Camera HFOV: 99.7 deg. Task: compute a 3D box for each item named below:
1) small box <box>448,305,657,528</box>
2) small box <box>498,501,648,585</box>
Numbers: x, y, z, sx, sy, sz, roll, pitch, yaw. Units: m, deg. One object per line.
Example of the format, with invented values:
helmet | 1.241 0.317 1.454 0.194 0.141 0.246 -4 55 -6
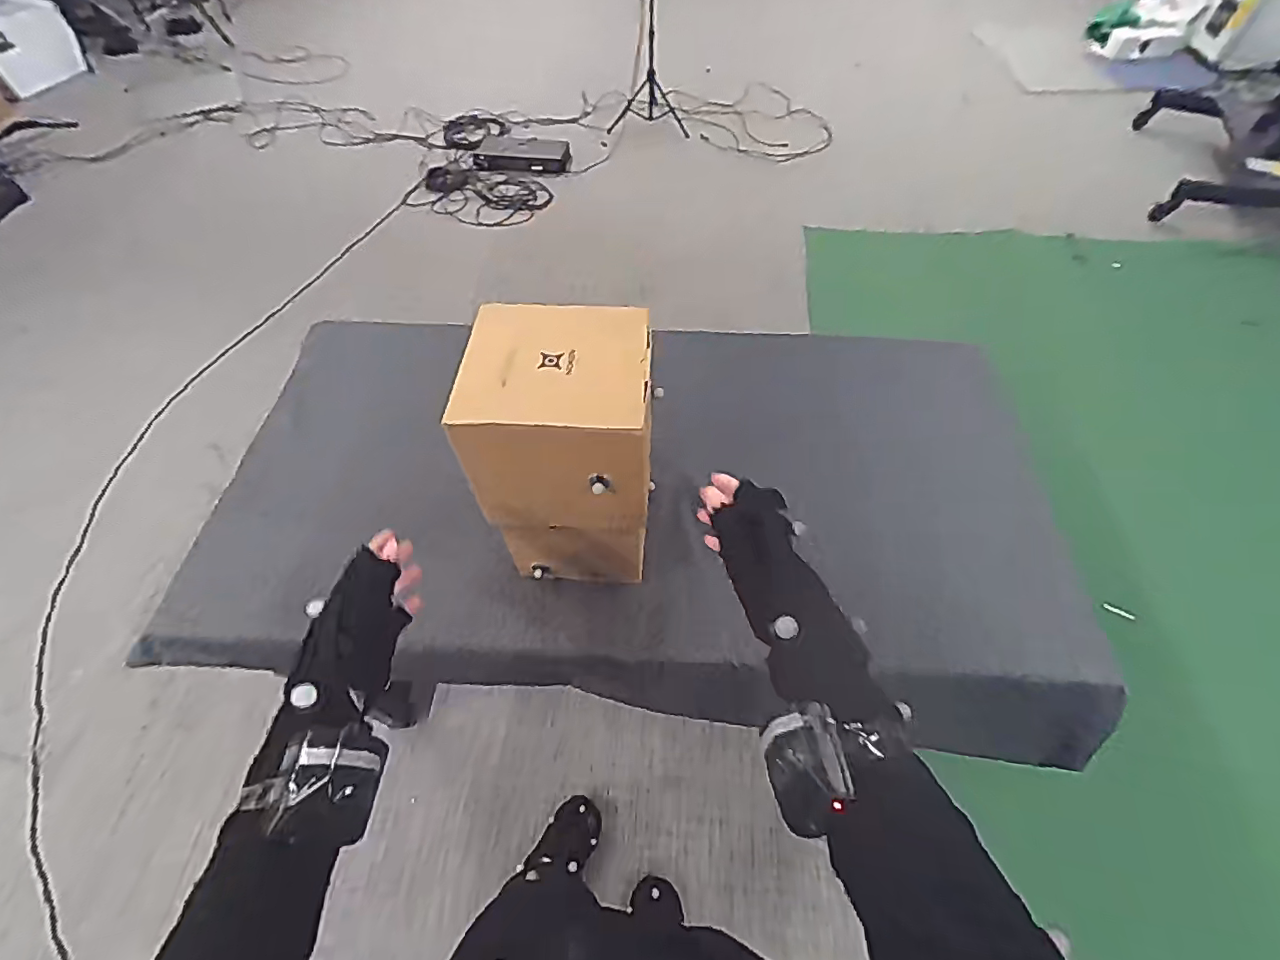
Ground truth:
small box | -0.076 -0.060 0.561 0.179 0.176 0.168 -1 54 -1
small box | -0.075 0.026 0.718 0.168 0.176 0.179 3 54 3
